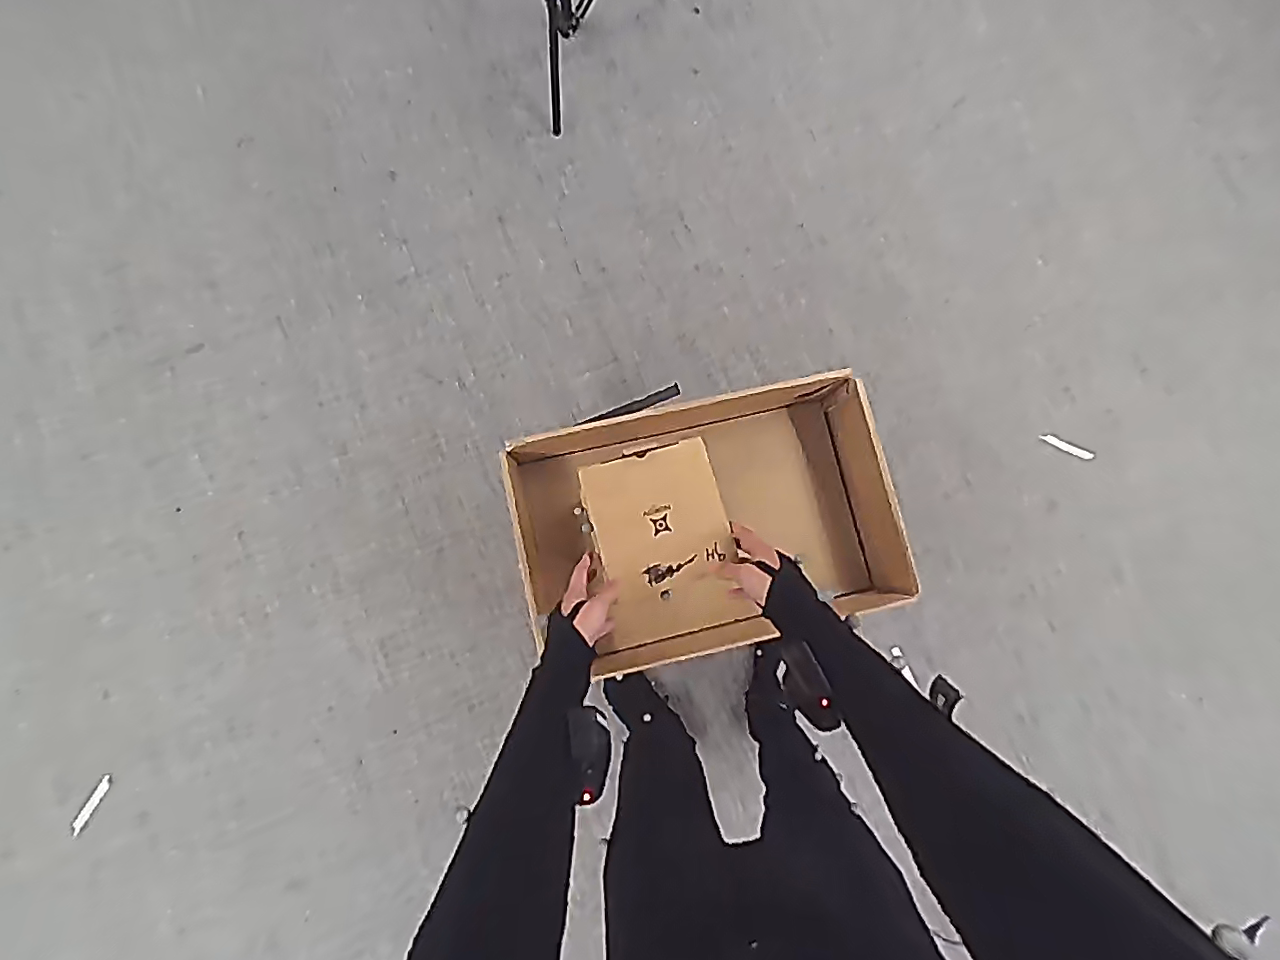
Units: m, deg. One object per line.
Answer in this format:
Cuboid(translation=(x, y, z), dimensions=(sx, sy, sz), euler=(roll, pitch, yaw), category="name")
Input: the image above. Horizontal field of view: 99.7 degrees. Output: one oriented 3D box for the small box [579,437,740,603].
Cuboid(translation=(0.016, 0.059, 0.744), dimensions=(0.168, 0.176, 0.179), euler=(-15, 83, -7), category="small box")
